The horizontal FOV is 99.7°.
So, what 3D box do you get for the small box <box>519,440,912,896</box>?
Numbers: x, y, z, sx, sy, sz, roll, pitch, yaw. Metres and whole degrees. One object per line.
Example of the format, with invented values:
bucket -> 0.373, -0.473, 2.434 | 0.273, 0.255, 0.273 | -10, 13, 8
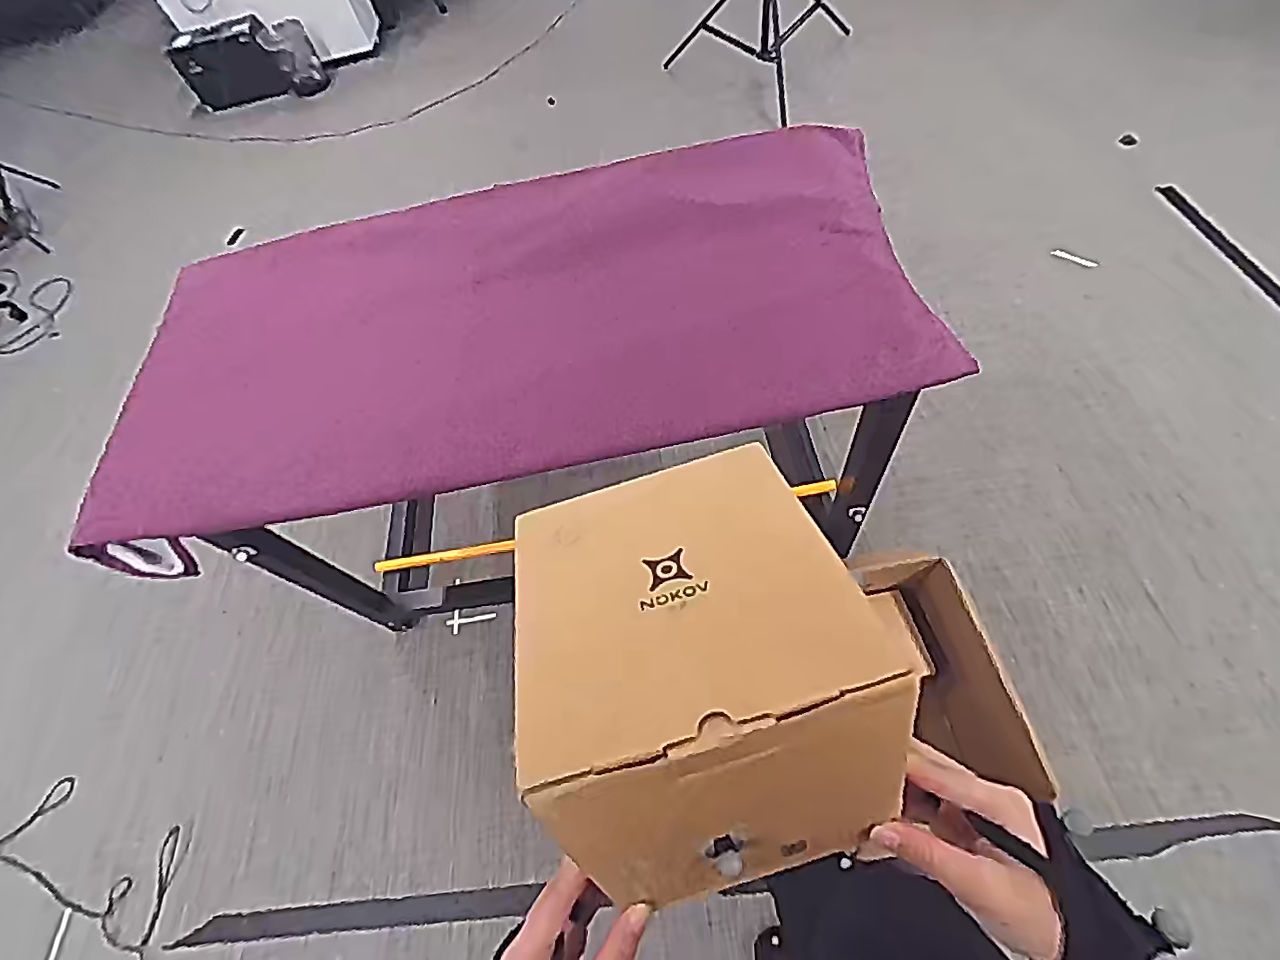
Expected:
small box -> 0.034, 0.107, 0.329 | 0.168, 0.176, 0.179 | -18, 38, 0
